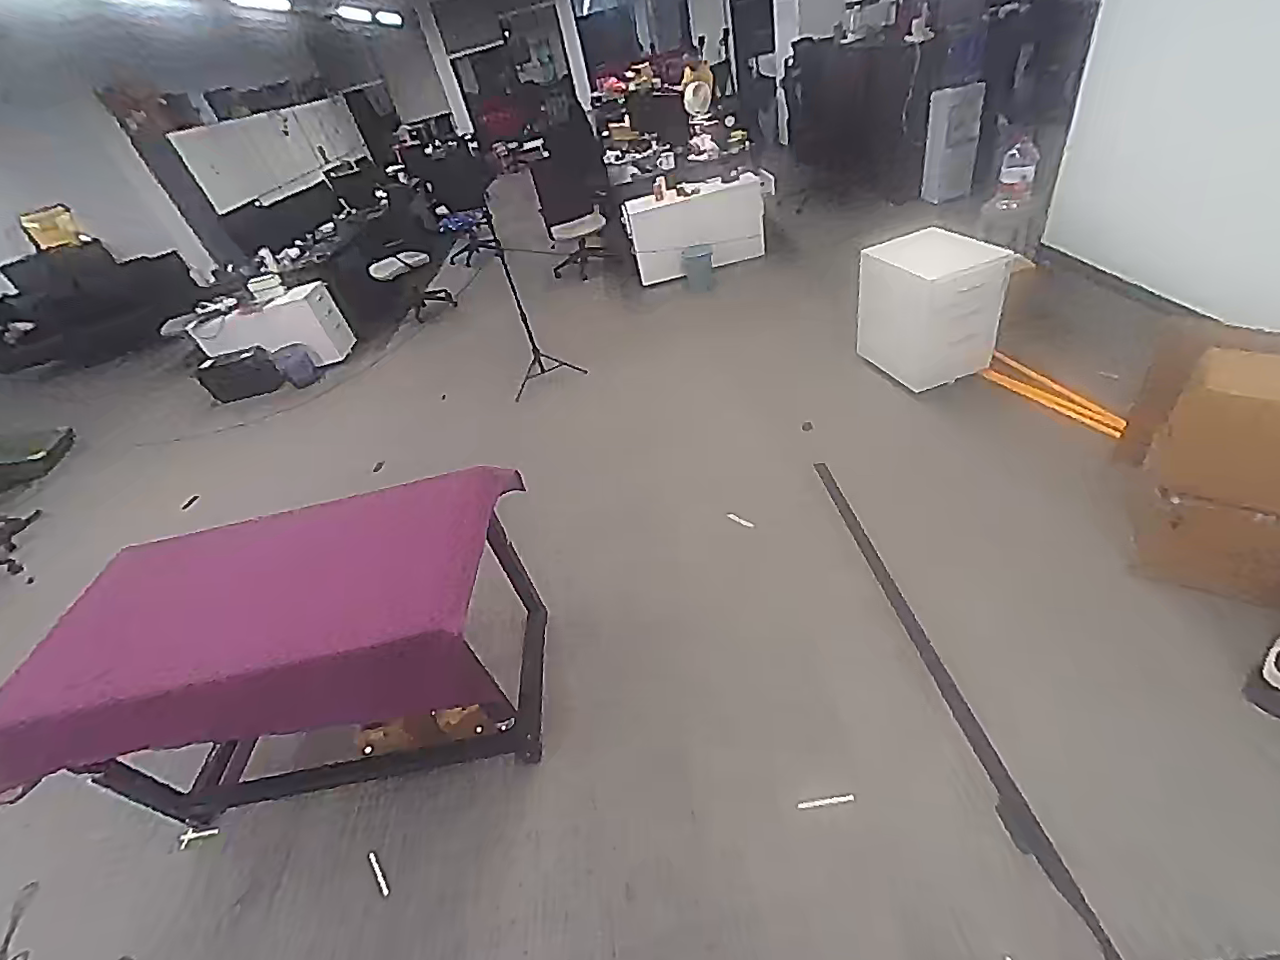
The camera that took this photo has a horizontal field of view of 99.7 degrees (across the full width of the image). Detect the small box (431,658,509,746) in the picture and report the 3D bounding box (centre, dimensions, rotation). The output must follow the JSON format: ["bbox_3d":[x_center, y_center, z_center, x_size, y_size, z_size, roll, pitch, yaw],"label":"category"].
[{"bbox_3d":[-0.565,0.742,1.803,0.168,0.176,0.179,-32,41,-18],"label":"small box"}]
